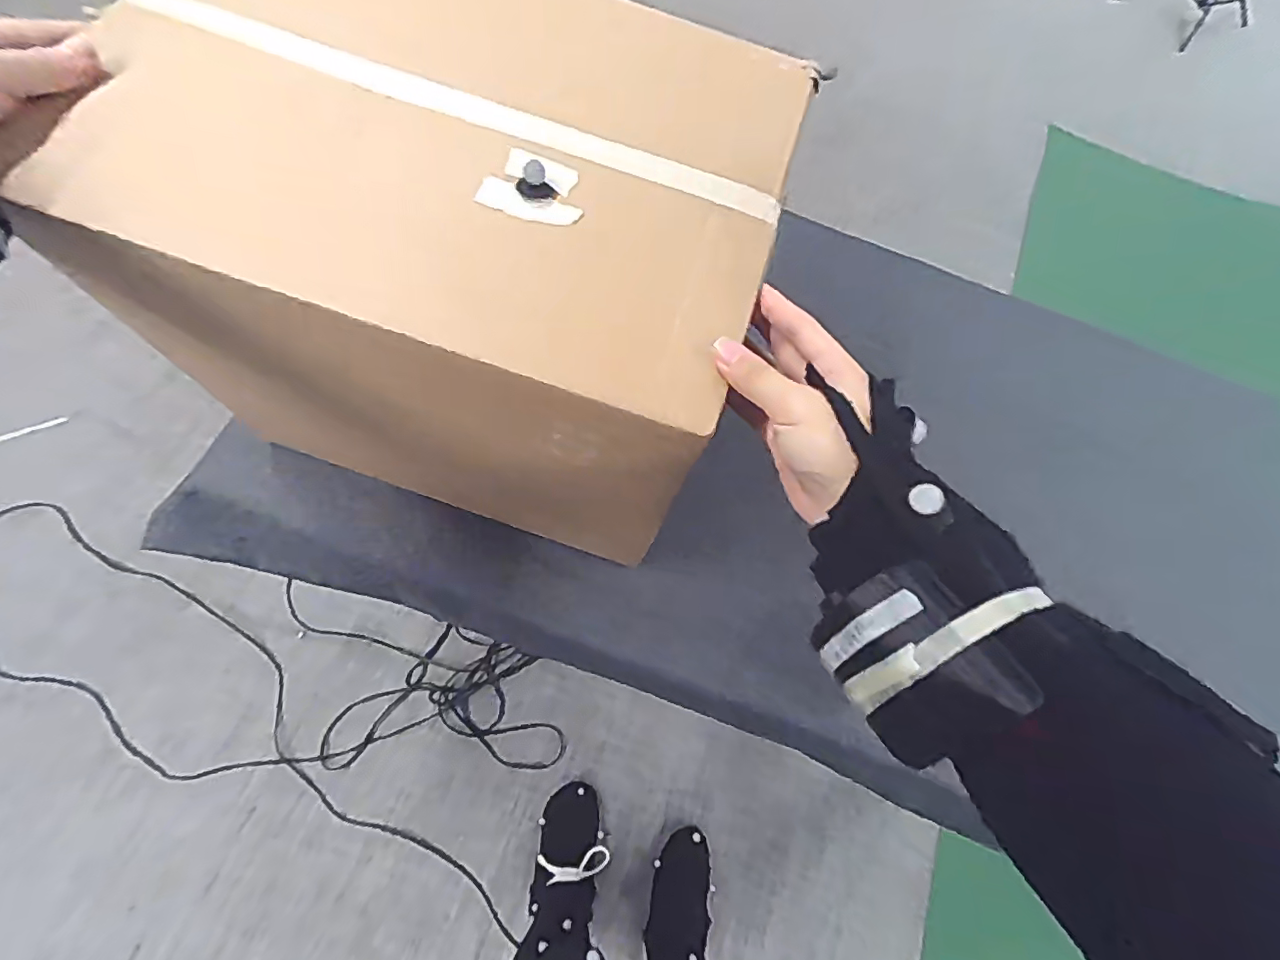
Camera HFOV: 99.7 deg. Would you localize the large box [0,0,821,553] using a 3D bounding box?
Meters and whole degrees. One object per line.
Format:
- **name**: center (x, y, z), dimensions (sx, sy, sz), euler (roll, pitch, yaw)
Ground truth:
- **large box**: center (-0.118, -0.168, 0.471), dimensions (0.408, 0.320, 0.320), euler (19, 69, -1)
